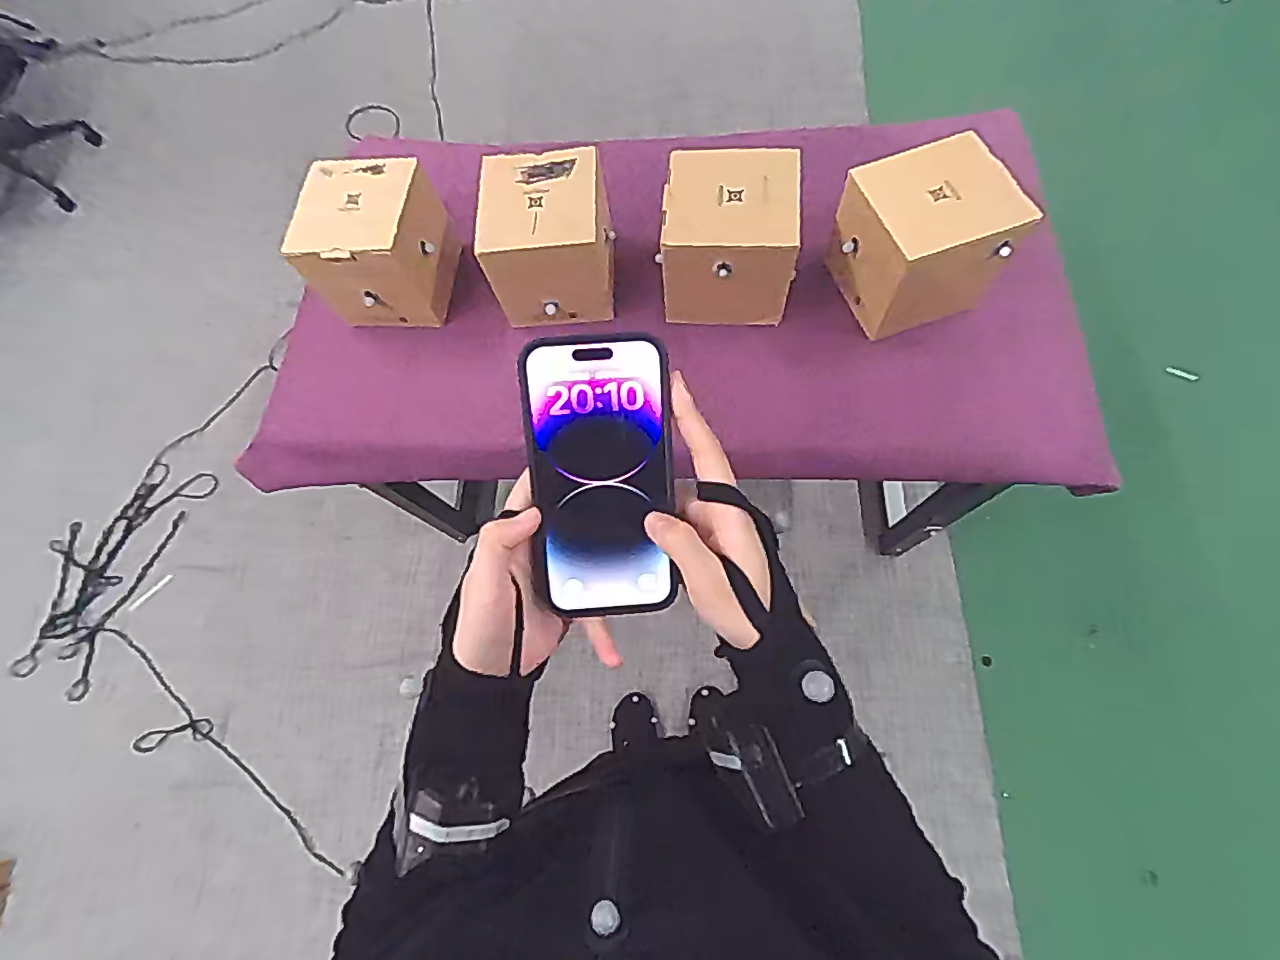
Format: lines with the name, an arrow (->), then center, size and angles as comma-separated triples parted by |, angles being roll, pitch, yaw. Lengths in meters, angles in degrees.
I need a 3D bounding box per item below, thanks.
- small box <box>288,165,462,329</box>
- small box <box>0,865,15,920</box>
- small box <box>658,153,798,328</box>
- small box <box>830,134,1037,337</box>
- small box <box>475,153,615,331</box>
small box -> -0.398, -0.354, 0.846 | 0.168, 0.176, 0.179 | 2, 70, 7
small box -> -1.618, 1.007, 1.236 | 0.179, 0.176, 0.168 | -8, 69, 4
small box -> 0.126, -0.339, 0.785 | 0.179, 0.176, 0.168 | 4, 70, 7
small box -> 0.382, -0.328, 0.751 | 0.179, 0.176, 0.168 | -19, 68, -1
small box -> -0.132, -0.351, 0.816 | 0.168, 0.176, 0.179 | -3, 70, 5
